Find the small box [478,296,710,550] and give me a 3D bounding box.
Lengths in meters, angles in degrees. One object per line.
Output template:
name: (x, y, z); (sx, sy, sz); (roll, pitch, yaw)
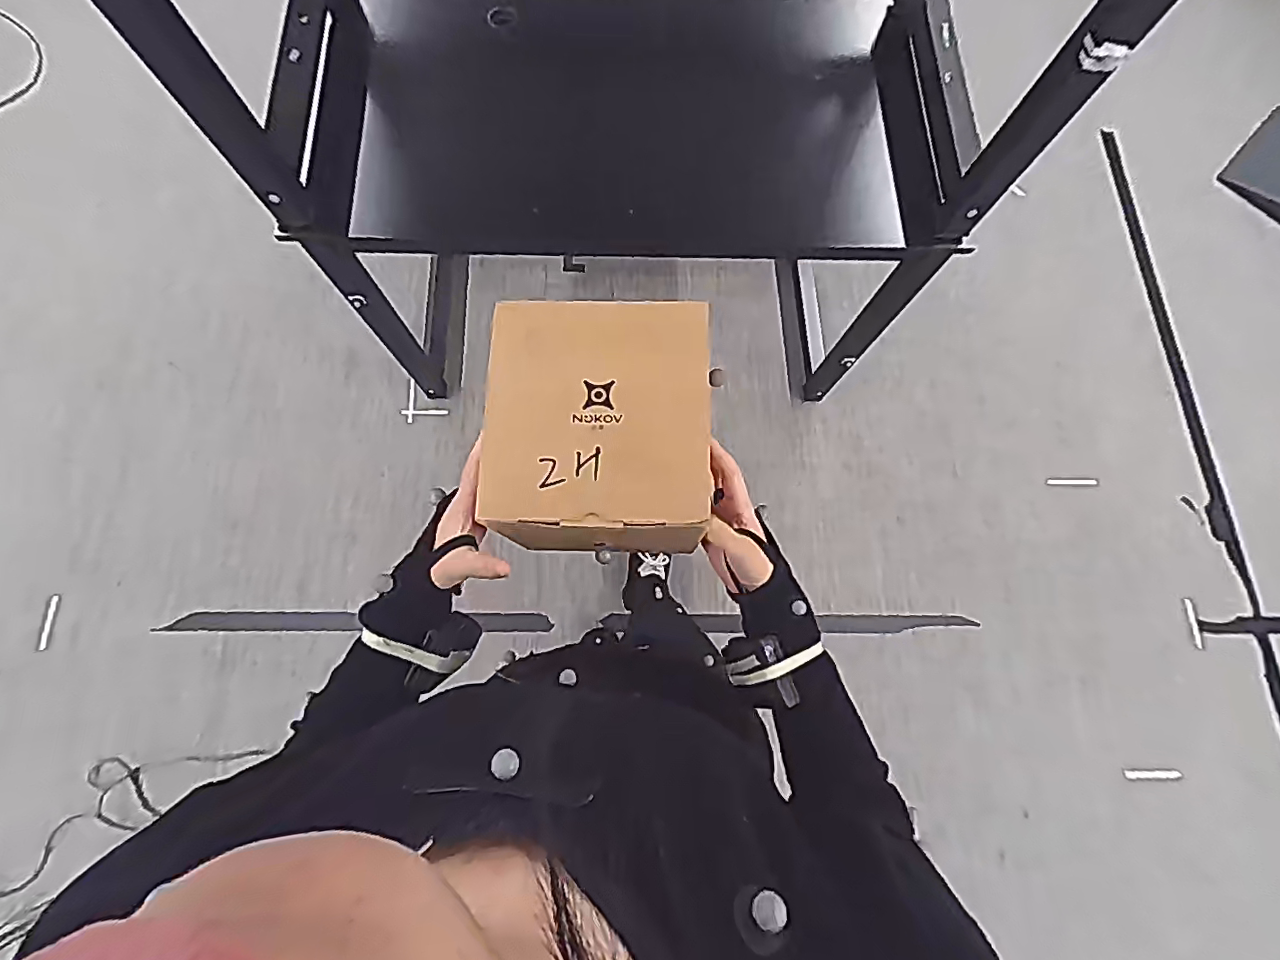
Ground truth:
small box: (-0.029, -0.038, 0.476); (0.168, 0.176, 0.179); (1, 76, 2)
